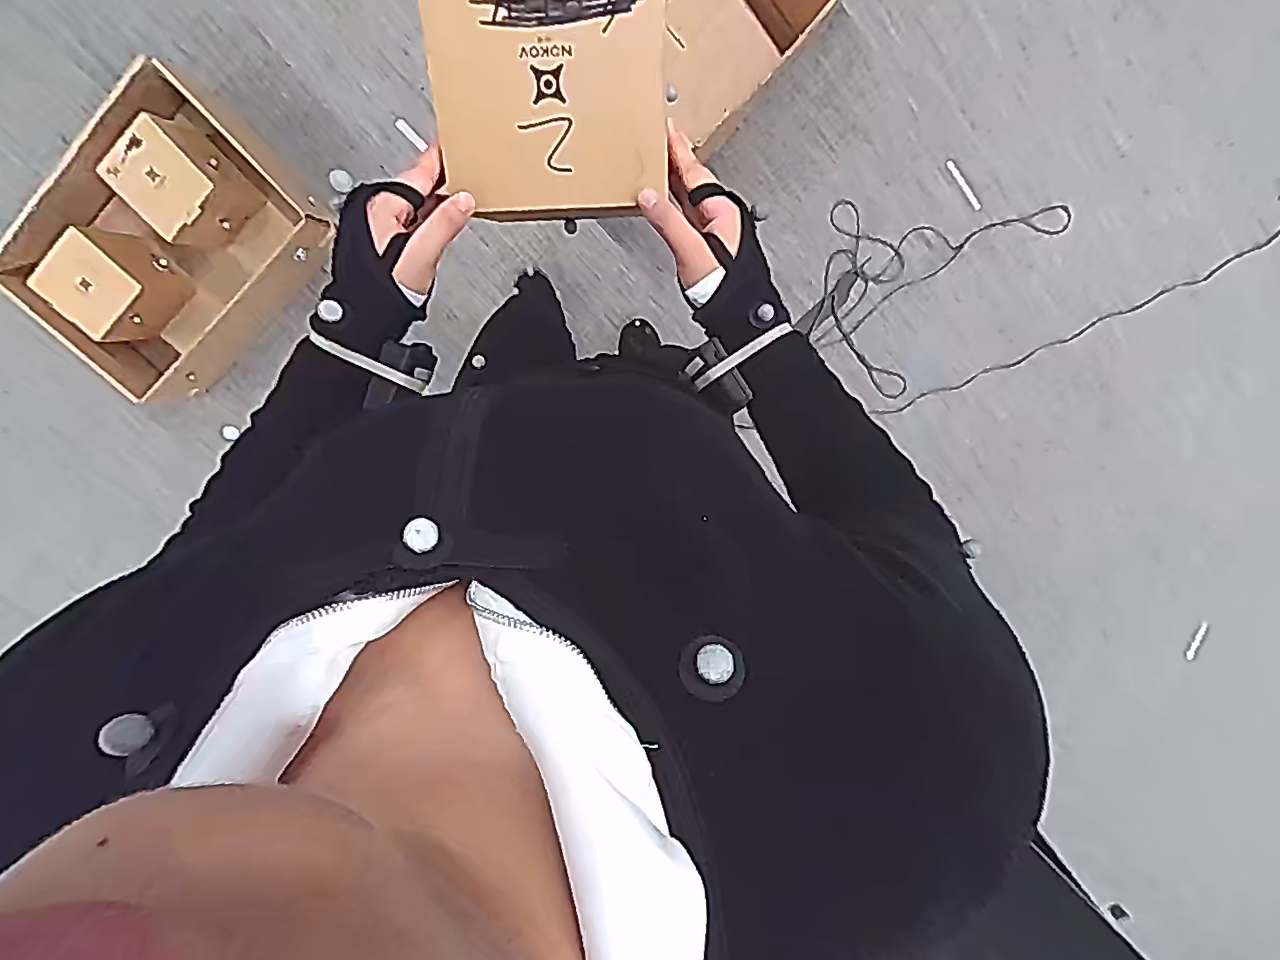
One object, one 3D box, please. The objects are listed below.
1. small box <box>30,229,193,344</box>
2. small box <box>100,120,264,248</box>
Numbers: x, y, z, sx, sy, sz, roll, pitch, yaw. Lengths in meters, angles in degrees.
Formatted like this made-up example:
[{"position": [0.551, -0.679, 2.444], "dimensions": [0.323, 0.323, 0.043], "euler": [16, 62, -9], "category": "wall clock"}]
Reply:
[{"position": [-1.185, -0.433, 1.230], "dimensions": [0.179, 0.176, 0.168], "euler": [-41, 106, 9], "category": "small box"}, {"position": [-0.977, -0.627, 1.173], "dimensions": [0.168, 0.176, 0.179], "euler": [-38, 106, 11], "category": "small box"}]
